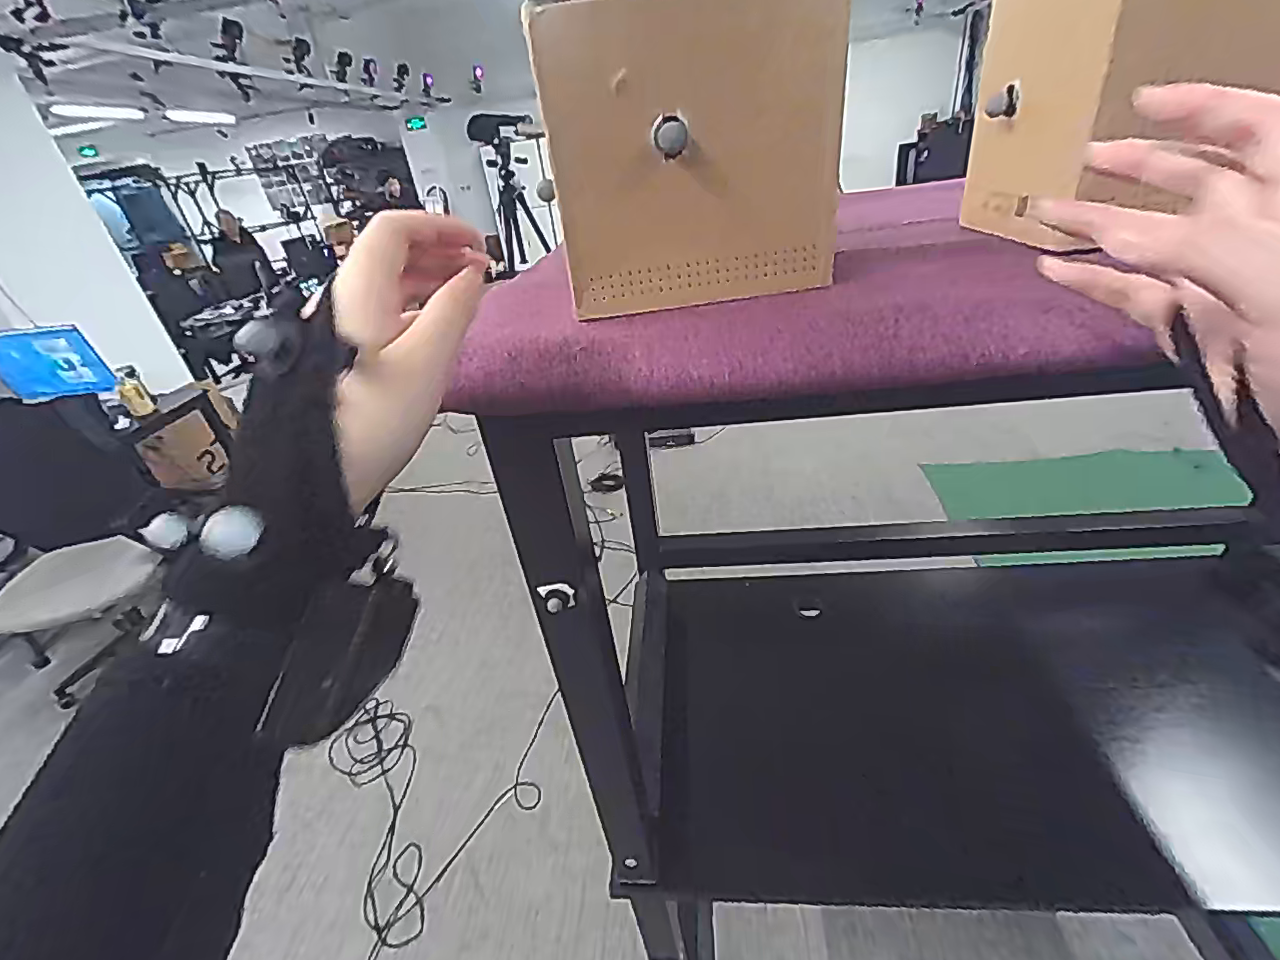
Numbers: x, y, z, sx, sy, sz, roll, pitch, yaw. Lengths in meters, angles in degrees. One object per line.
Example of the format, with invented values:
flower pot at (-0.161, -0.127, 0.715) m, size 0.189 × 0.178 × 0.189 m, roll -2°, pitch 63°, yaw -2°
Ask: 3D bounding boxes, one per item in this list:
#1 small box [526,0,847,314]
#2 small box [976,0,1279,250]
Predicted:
small box at (0.032, -0.227, 0.384) m, size 0.179 × 0.176 × 0.168 m, roll -9°, pitch 33°, yaw 0°
small box at (0.357, -0.262, 0.369) m, size 0.179 × 0.176 × 0.168 m, roll -3°, pitch 31°, yaw 8°
